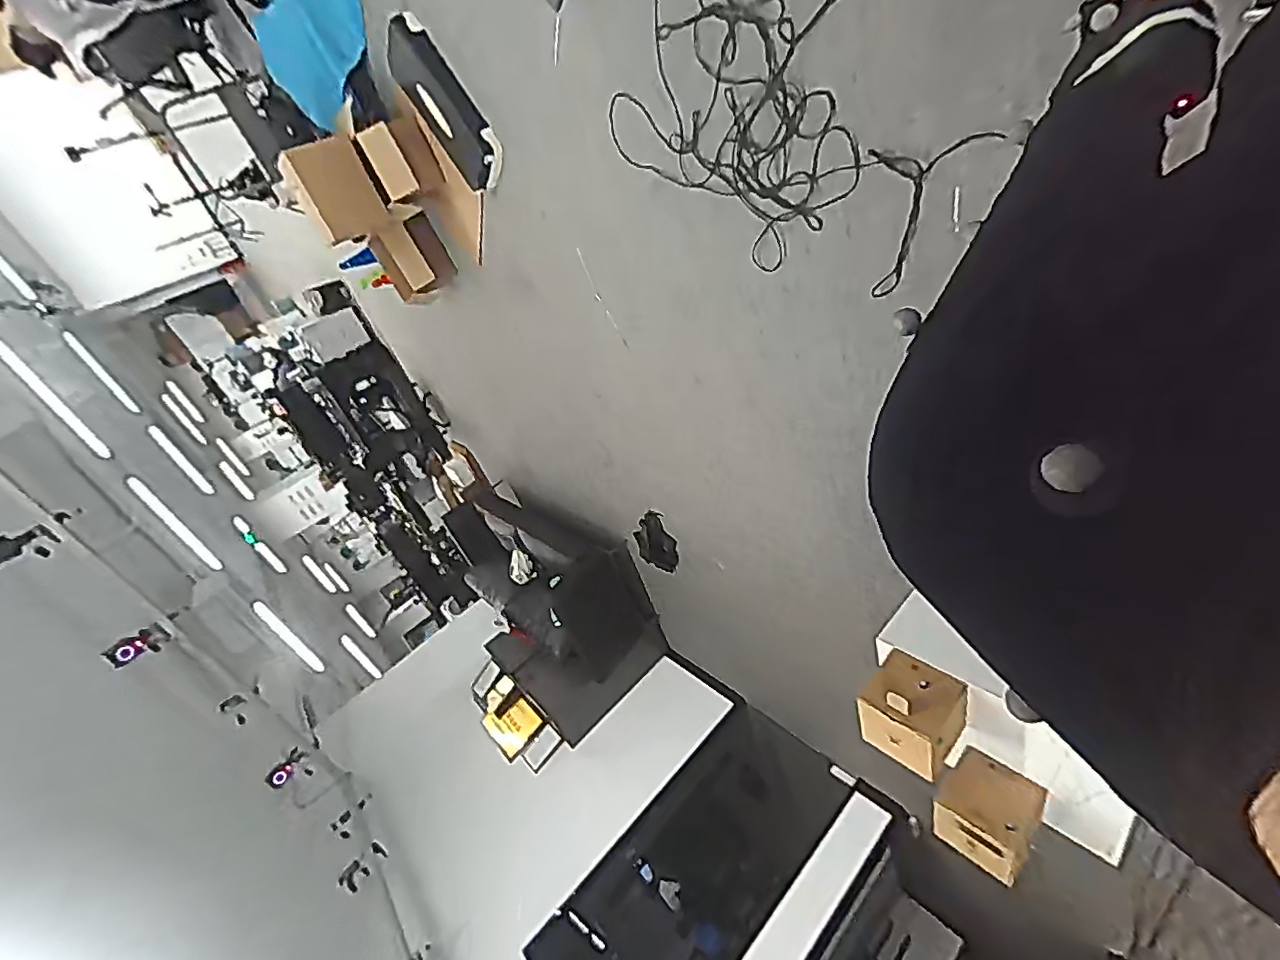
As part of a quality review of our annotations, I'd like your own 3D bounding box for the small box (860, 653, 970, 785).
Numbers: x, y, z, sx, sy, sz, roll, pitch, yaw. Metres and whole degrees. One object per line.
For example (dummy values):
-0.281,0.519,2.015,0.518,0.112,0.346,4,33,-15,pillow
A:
0.625,0.533,1.225,0.168,0.176,0.179,22,142,47,small box
